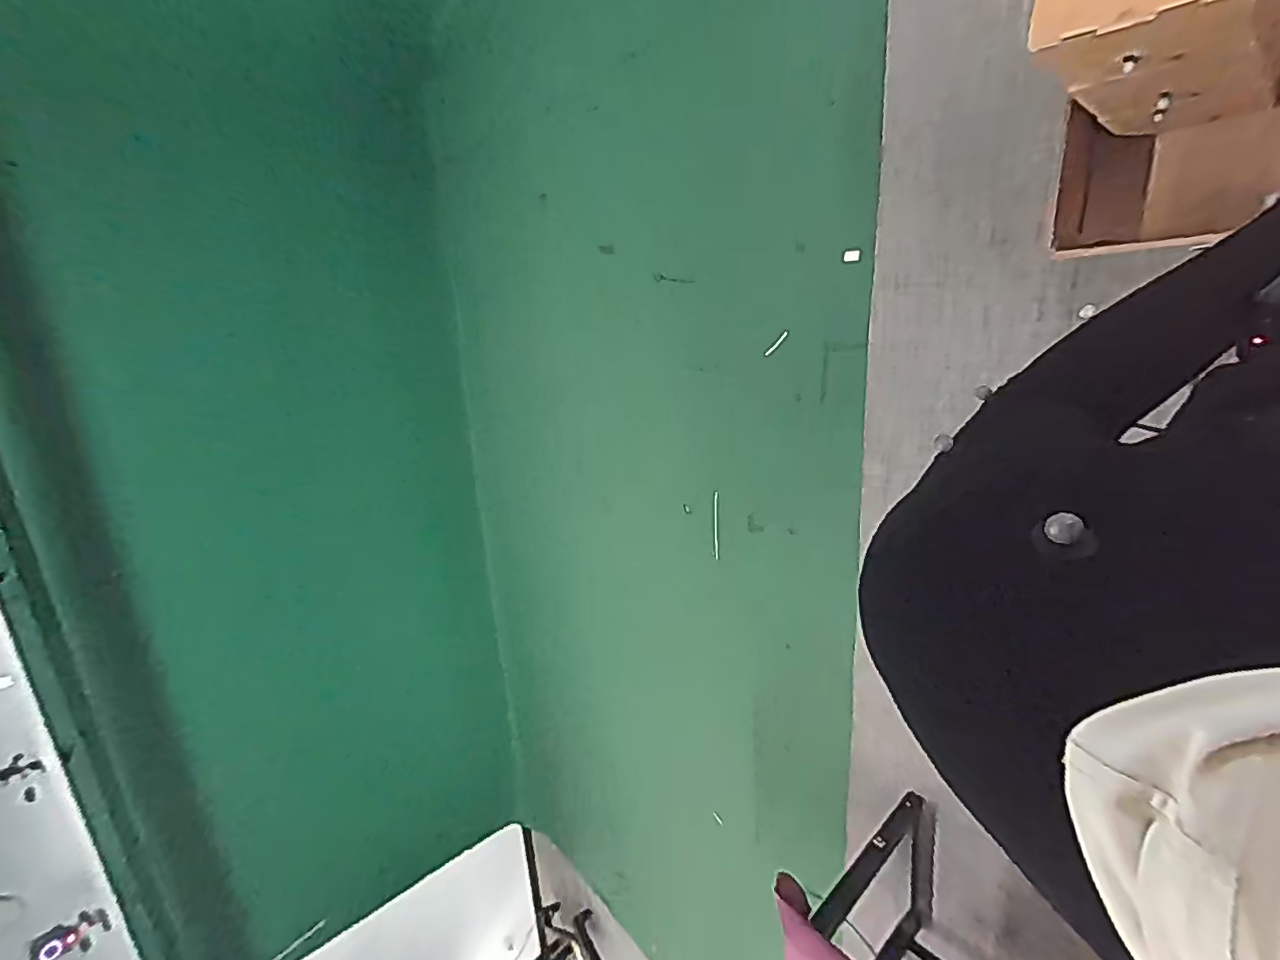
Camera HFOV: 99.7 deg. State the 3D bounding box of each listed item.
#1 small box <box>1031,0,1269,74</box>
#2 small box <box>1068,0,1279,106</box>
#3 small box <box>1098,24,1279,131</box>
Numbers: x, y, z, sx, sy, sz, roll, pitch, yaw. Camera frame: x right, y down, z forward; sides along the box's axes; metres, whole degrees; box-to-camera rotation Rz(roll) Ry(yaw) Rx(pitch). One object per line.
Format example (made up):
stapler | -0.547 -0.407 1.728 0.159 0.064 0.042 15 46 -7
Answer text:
small box | 0.525 -0.544 0.535 0.168 0.176 0.179 21 118 45
small box | 0.645 -0.578 0.638 0.168 0.176 0.179 20 117 47
small box | 0.768 -0.612 0.742 0.168 0.176 0.179 17 115 46
